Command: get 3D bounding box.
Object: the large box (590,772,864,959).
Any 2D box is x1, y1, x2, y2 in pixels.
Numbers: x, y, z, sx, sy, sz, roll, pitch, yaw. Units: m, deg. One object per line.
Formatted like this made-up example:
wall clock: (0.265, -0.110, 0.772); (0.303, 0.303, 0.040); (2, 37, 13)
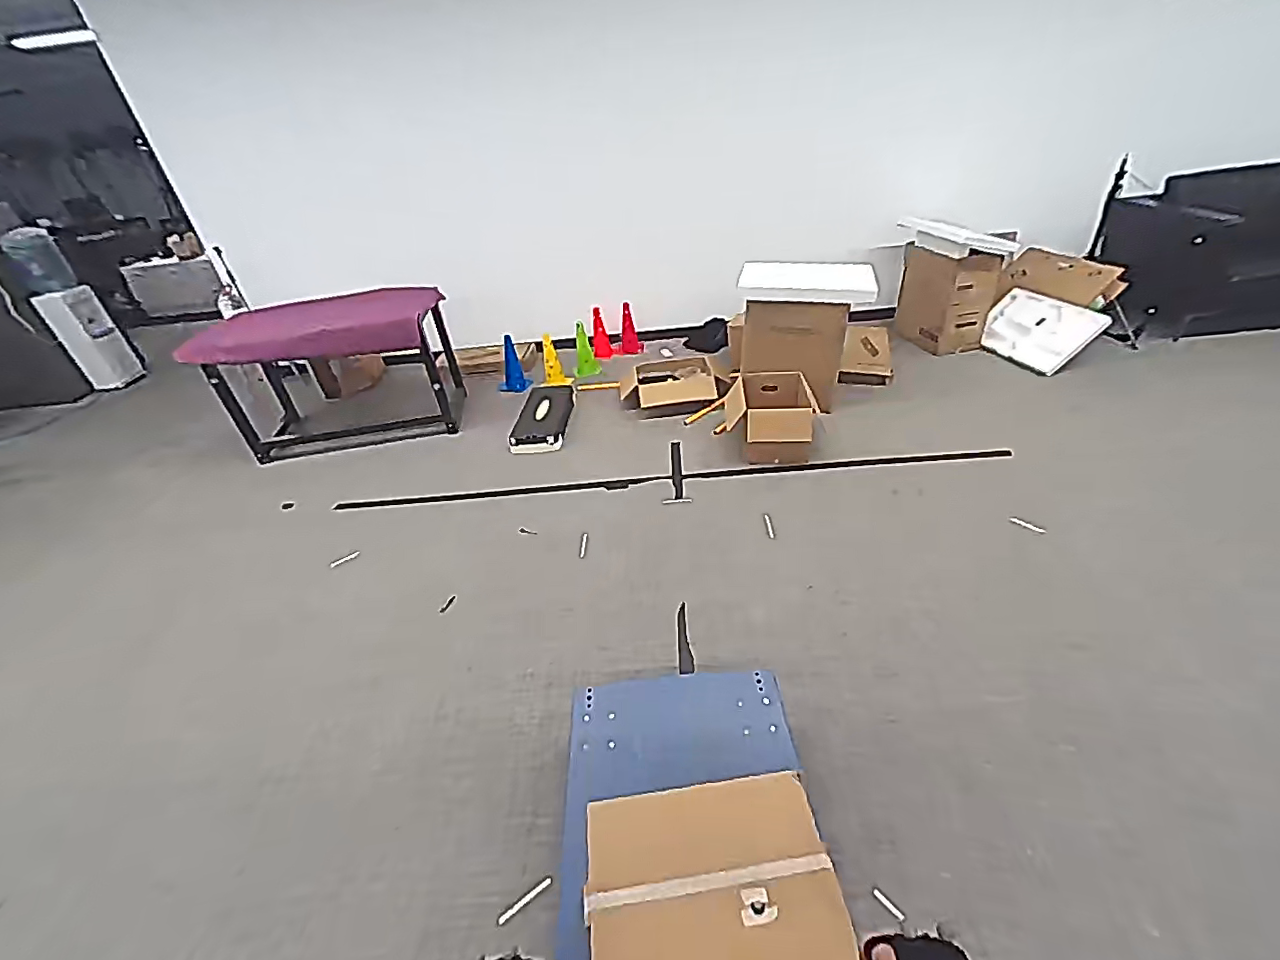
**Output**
large box: (0.131, 0.793, 0.982); (0.408, 0.320, 0.320); (-7, 35, -3)
